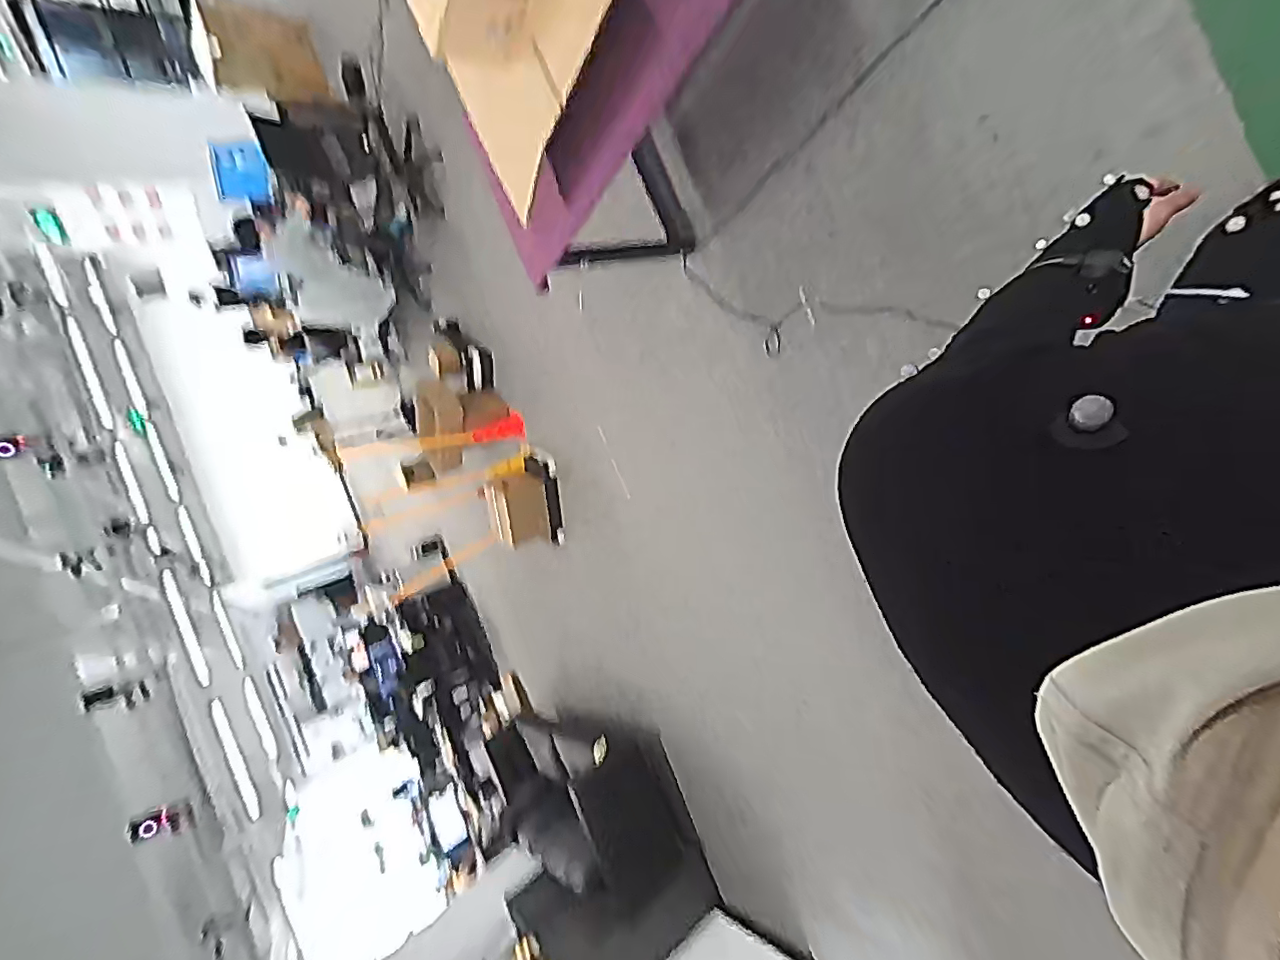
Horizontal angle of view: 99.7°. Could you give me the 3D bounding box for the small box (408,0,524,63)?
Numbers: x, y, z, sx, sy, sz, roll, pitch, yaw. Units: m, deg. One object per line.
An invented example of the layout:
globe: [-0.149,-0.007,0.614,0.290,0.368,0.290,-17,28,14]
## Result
small box: [-0.374,-1.030,1.143,0.168,0.176,0.179,-27,85,54]
